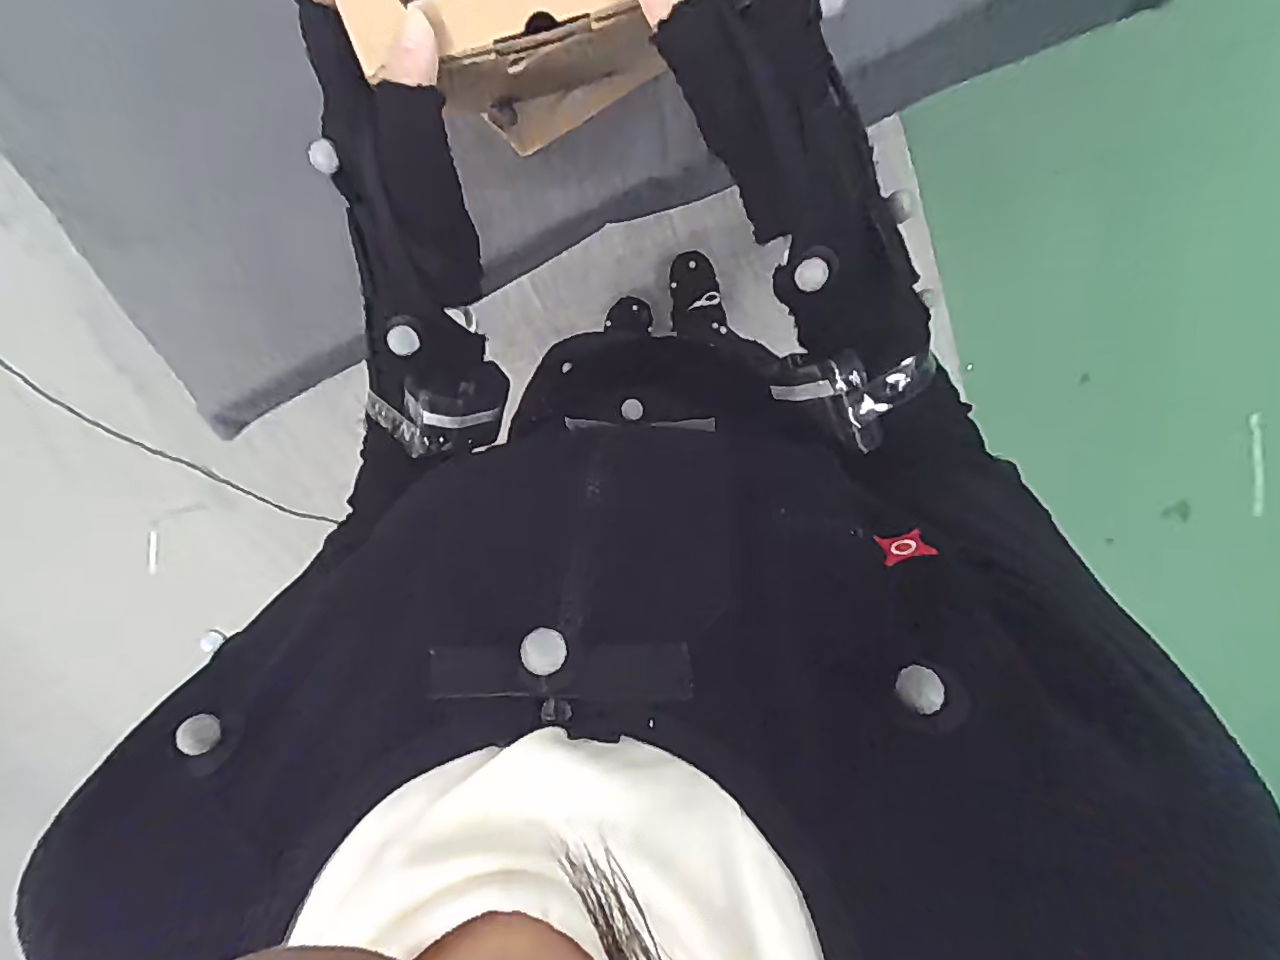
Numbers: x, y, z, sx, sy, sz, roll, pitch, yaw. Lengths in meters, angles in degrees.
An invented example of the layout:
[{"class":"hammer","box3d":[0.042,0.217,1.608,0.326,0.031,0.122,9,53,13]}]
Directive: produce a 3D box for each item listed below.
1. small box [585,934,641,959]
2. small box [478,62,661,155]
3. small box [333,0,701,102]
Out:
[{"class":"small box","box3d":[-0.086,1.503,1.605,0.168,0.176,0.179,7,108,-3]},{"class":"small box","box3d":[-0.085,-0.416,0.457,0.179,0.176,0.168,-30,105,10]},{"class":"small box","box3d":[-0.060,-0.306,0.263,0.168,0.176,0.179,-10,118,7]}]
